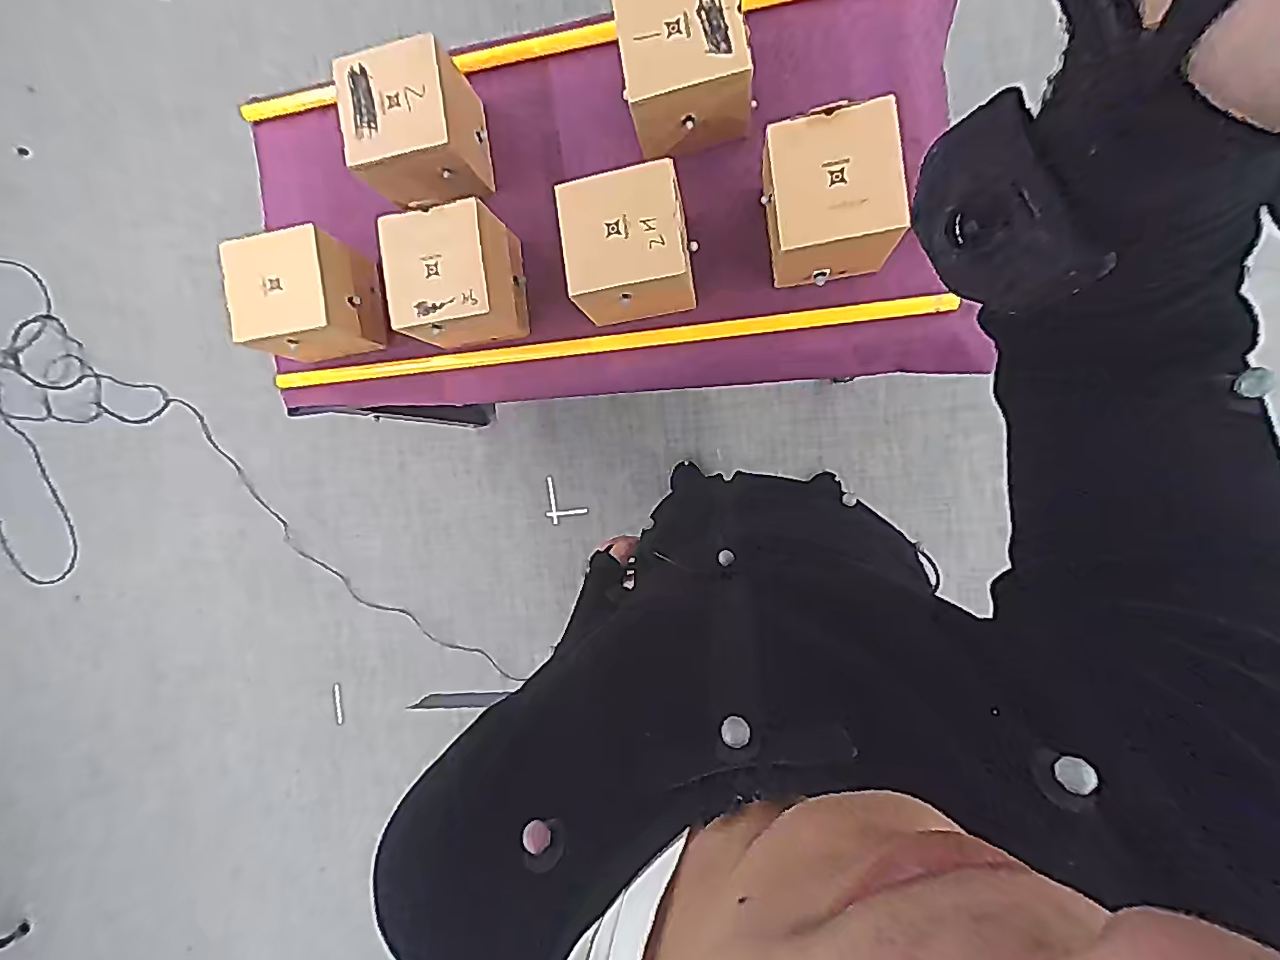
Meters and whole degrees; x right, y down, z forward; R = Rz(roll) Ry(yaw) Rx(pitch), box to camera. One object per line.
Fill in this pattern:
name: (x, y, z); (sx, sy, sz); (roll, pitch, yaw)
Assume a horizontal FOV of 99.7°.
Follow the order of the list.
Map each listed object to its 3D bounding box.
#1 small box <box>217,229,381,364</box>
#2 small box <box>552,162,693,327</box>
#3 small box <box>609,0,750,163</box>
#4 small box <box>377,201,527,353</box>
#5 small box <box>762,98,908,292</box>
small box: (-0.577, -0.307, 0.941); (0.179, 0.176, 0.168); (-7, 90, 9)
small box: (-0.020, -0.350, 0.839); (0.179, 0.176, 0.168); (-7, 90, 10)
small box: (0.065, -0.617, 0.815); (0.179, 0.176, 0.168); (-9, 92, 11)
small box: (-0.300, -0.322, 0.891); (0.168, 0.176, 0.179); (-6, 90, 12)
small box: (0.270, -0.397, 0.785); (0.168, 0.176, 0.179); (-7, 89, 12)
